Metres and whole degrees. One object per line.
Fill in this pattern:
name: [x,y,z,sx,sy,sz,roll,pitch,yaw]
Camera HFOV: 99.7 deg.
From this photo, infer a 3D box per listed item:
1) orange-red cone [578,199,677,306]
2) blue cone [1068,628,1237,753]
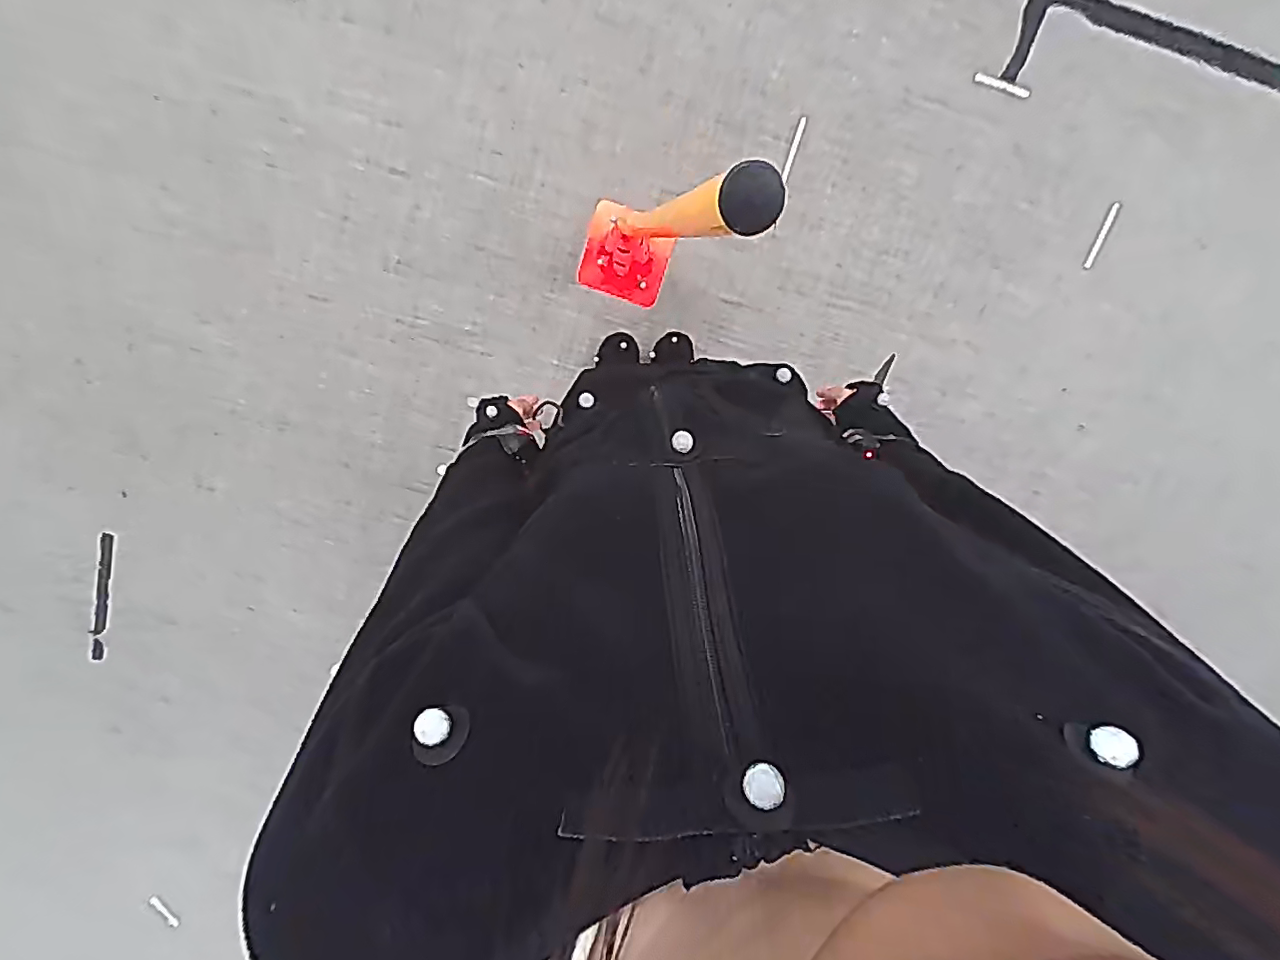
orange-red cone: [-0.024,-0.492,1.116,0.198,0.360,0.199,19,103,-7]
blue cone: [1.428,0.587,1.486,0.193,0.380,0.192,19,104,-7]
